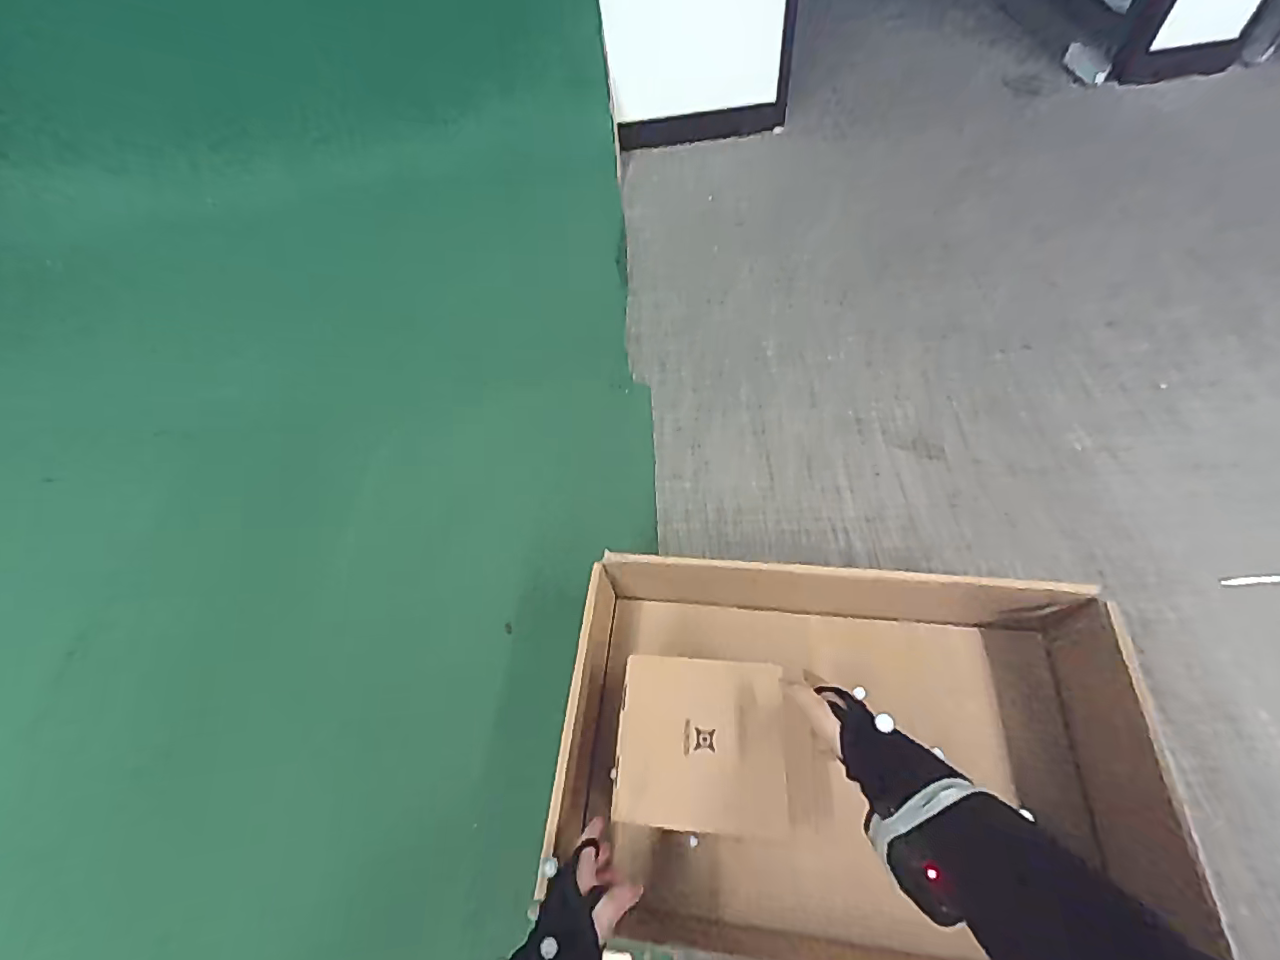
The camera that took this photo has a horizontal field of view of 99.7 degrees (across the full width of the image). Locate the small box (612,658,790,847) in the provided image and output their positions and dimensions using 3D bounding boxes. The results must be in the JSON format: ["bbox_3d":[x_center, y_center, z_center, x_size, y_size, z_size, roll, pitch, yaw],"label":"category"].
[{"bbox_3d":[0.074,0.318,0.630,0.179,0.176,0.168,2,59,8],"label":"small box"}]
